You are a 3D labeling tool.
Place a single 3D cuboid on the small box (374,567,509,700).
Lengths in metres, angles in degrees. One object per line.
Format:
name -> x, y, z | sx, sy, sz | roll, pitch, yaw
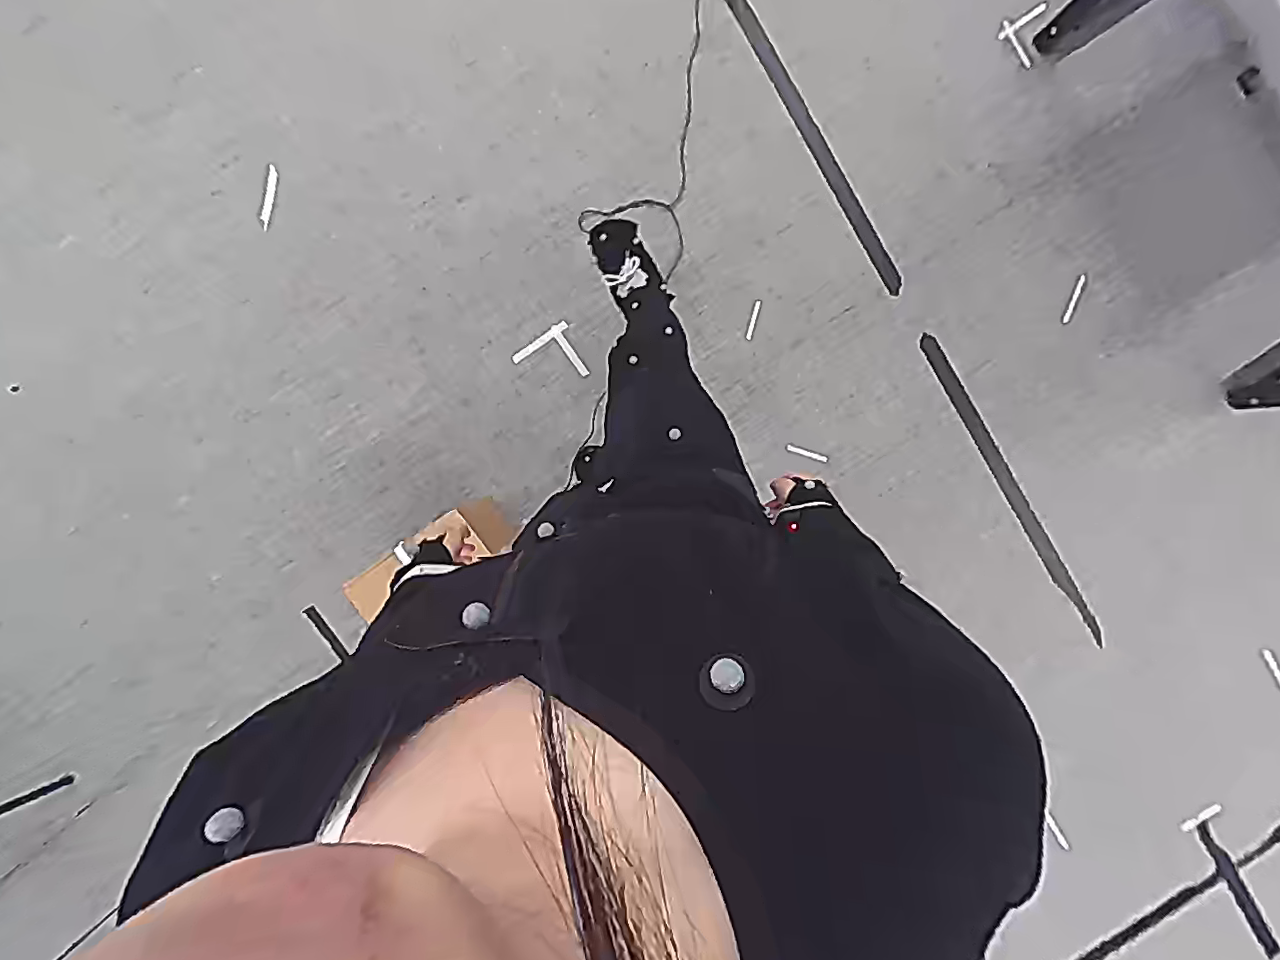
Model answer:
small box -> -0.395, 0.306, 1.110 | 0.179, 0.176, 0.168 | -36, 95, -1
